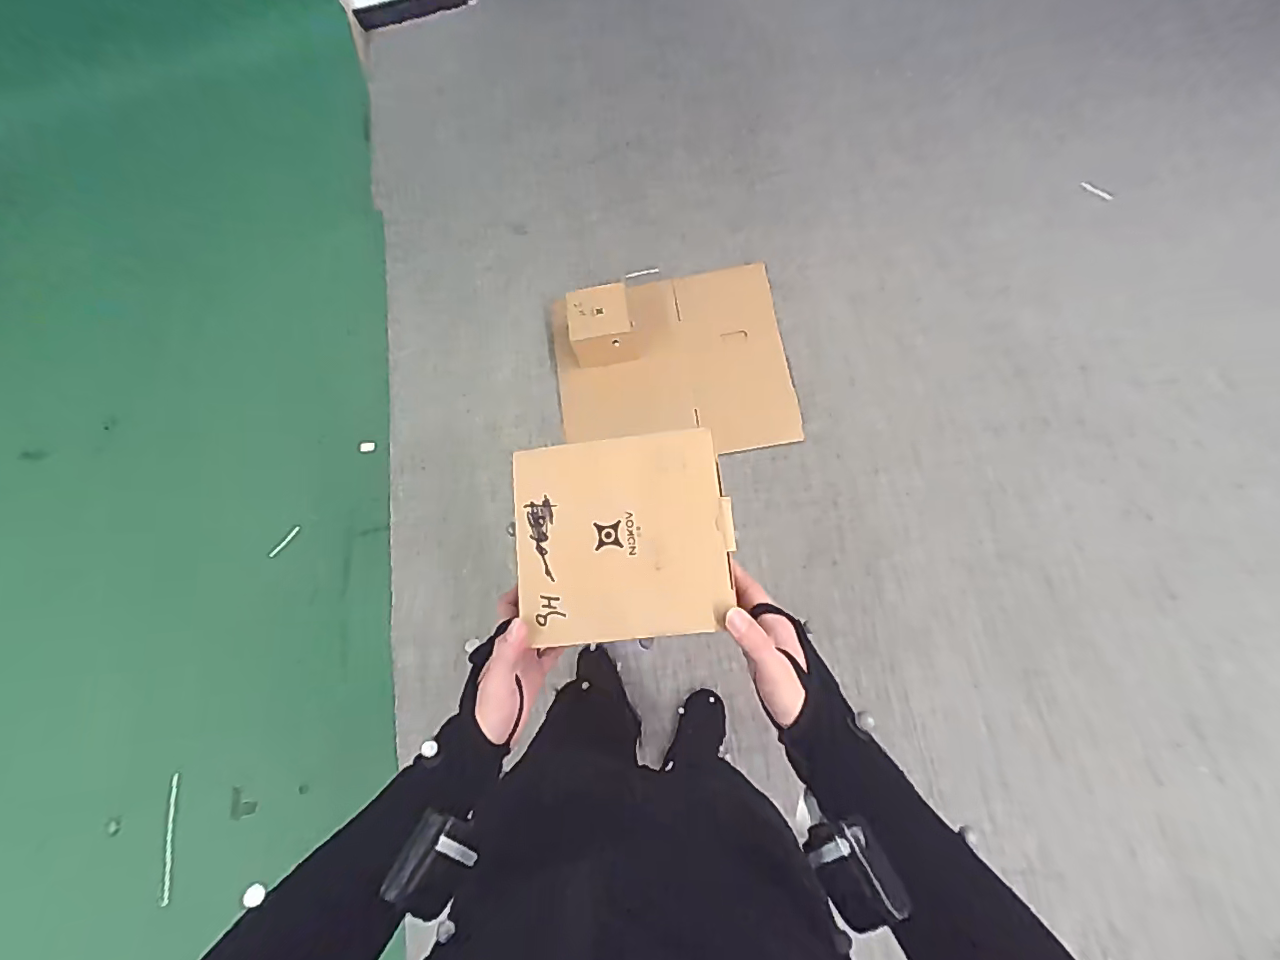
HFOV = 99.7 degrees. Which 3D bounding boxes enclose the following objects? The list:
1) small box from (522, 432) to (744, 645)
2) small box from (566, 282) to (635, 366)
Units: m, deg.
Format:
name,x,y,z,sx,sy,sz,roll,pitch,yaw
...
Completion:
name,x,y,z,sx,sy,sz,roll,pitch,yaw
small box,-0.003,0.062,0.519,0.179,0.176,0.168,-6,76,5
small box,-0.111,-0.460,1.609,0.179,0.176,0.168,-8,74,5
